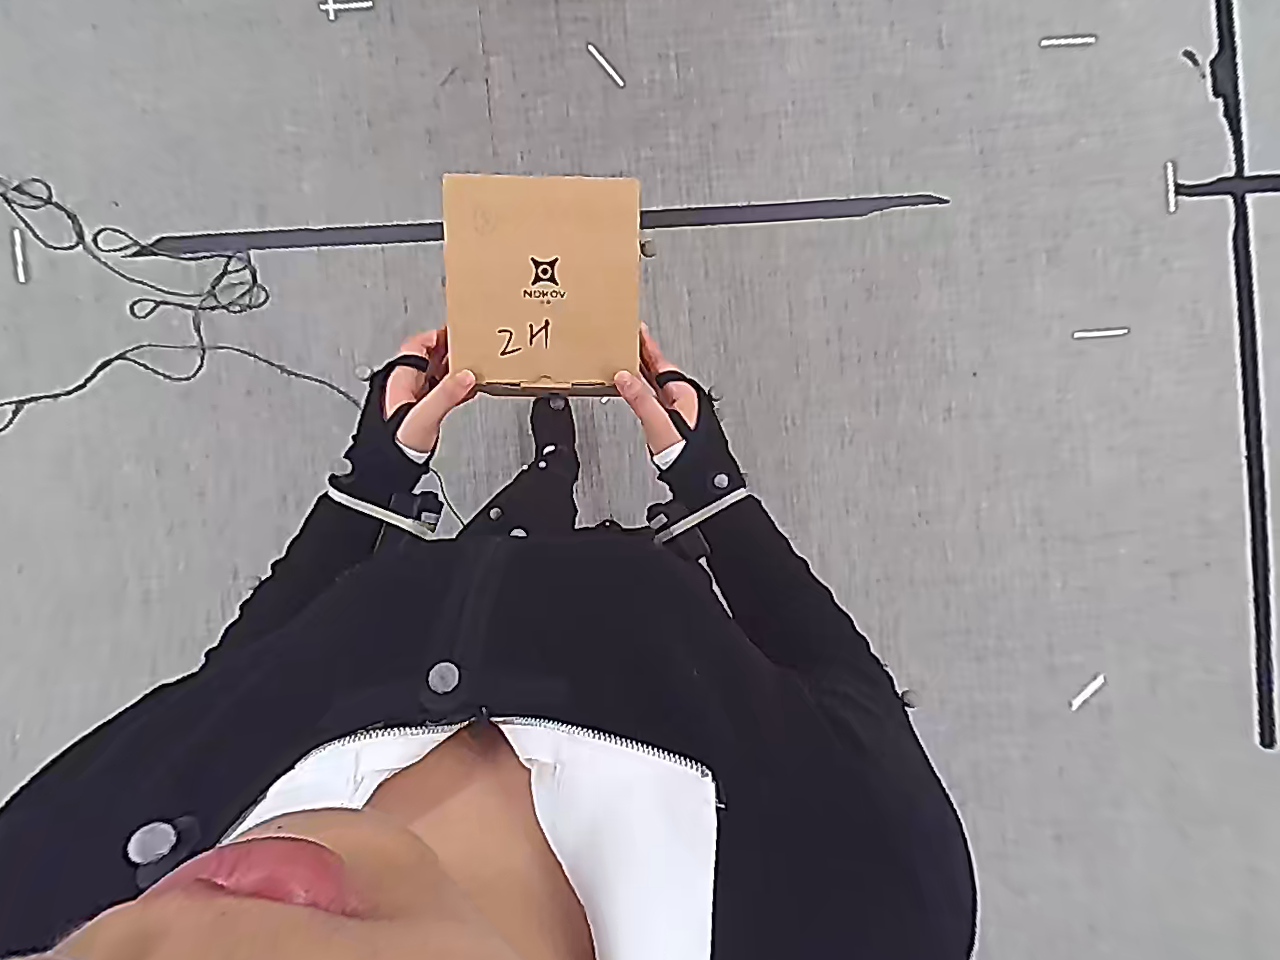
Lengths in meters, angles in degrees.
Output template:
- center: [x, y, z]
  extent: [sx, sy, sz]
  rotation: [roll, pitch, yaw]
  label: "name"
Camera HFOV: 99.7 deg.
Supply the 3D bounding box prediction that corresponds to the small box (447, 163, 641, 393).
- center: [-0.086, -0.184, 0.541]
  extent: [0.168, 0.176, 0.179]
  rotation: [0, 94, -3]
  label: "small box"
